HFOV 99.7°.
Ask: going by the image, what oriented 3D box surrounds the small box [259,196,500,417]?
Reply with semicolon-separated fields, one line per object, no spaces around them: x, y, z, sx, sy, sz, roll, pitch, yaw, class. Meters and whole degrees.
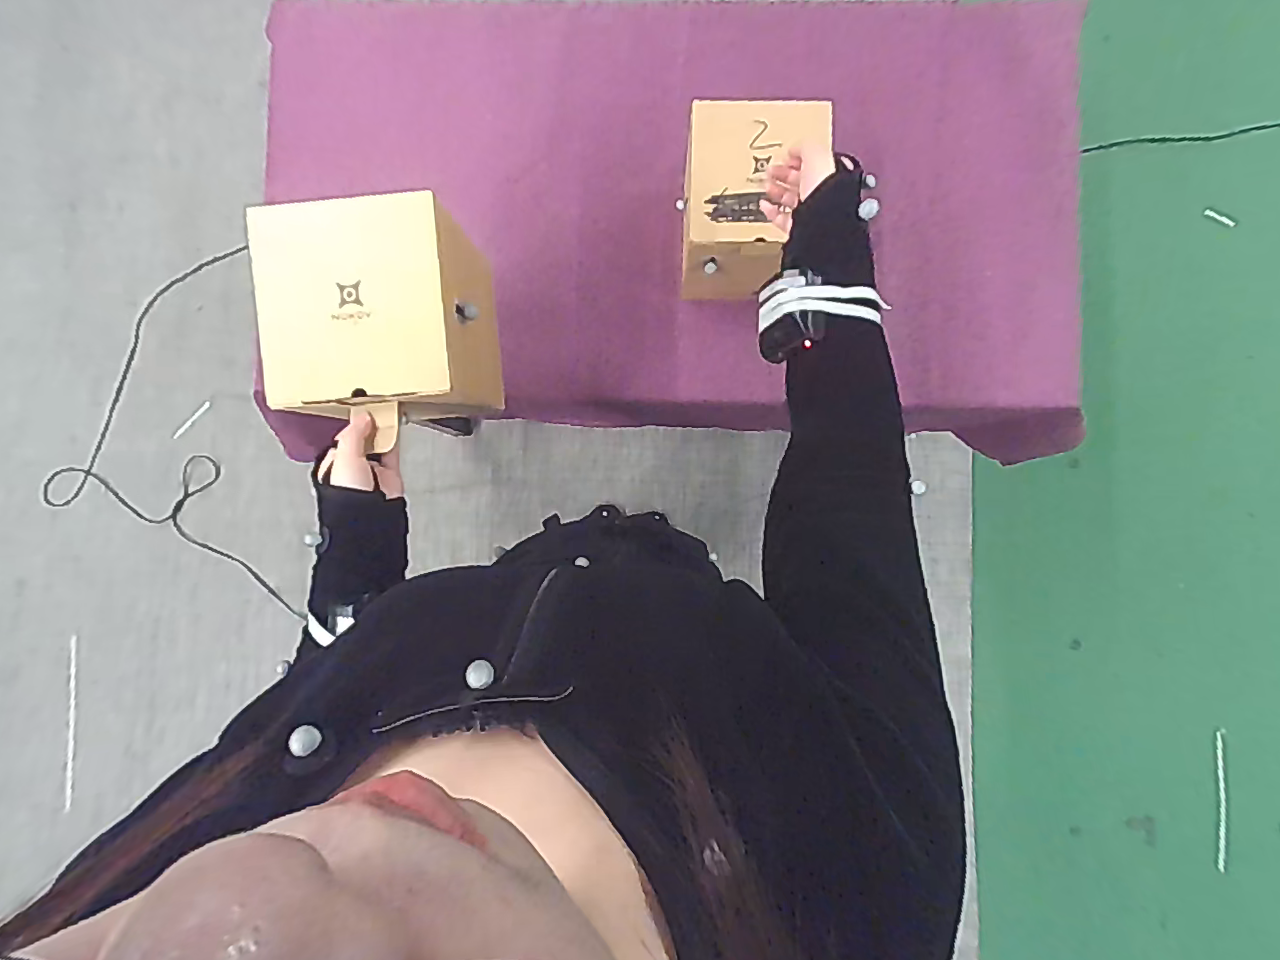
-0.253;-0.165;0.565;0.168;0.176;0.179;-4;93;1;small box
